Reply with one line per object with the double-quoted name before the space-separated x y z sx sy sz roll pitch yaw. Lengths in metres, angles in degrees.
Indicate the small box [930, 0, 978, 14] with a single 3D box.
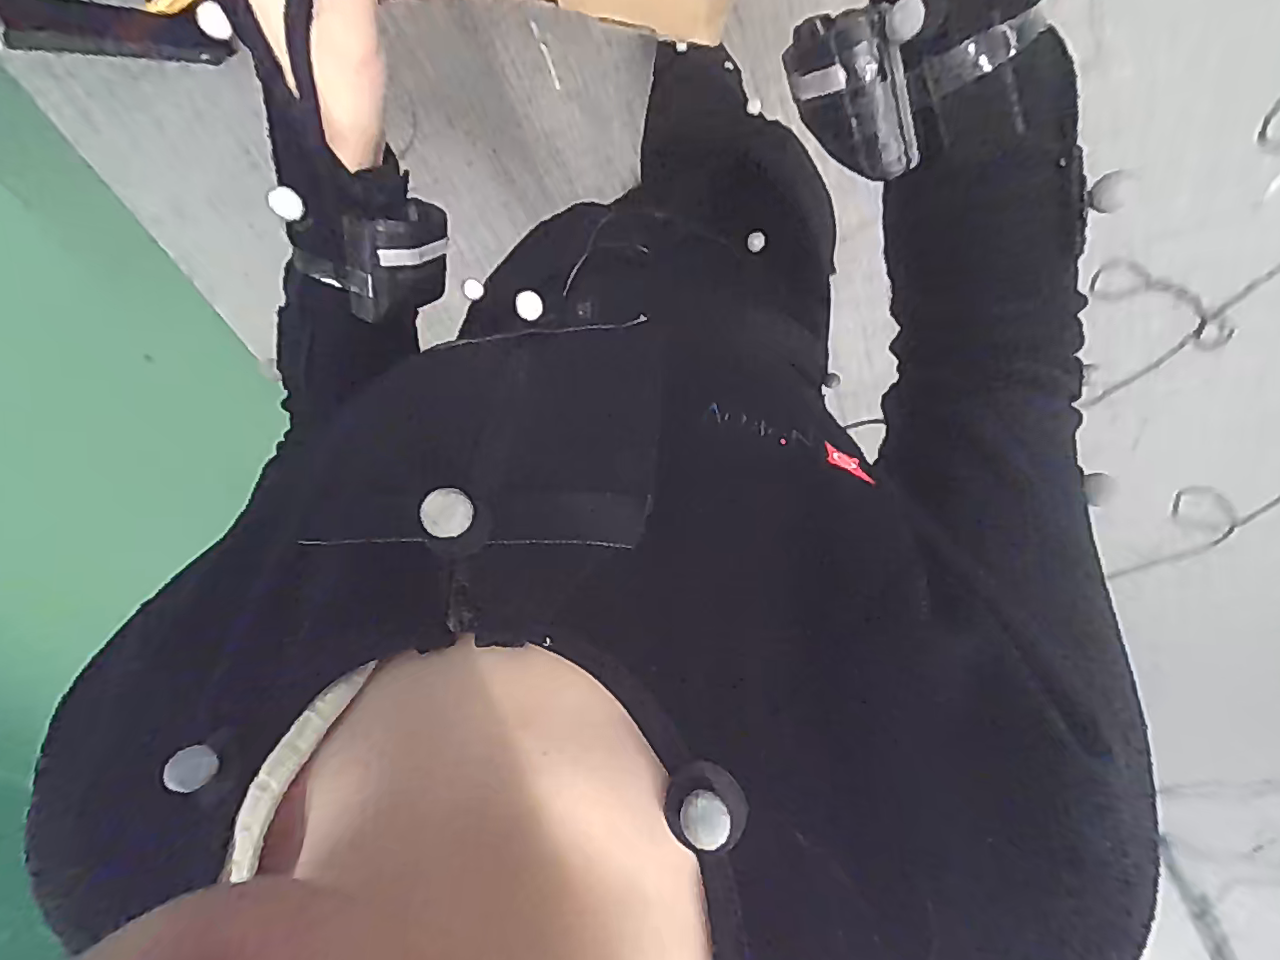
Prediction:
"small box" 0.543 -0.831 0.792 0.179 0.176 0.168 -16 121 16
